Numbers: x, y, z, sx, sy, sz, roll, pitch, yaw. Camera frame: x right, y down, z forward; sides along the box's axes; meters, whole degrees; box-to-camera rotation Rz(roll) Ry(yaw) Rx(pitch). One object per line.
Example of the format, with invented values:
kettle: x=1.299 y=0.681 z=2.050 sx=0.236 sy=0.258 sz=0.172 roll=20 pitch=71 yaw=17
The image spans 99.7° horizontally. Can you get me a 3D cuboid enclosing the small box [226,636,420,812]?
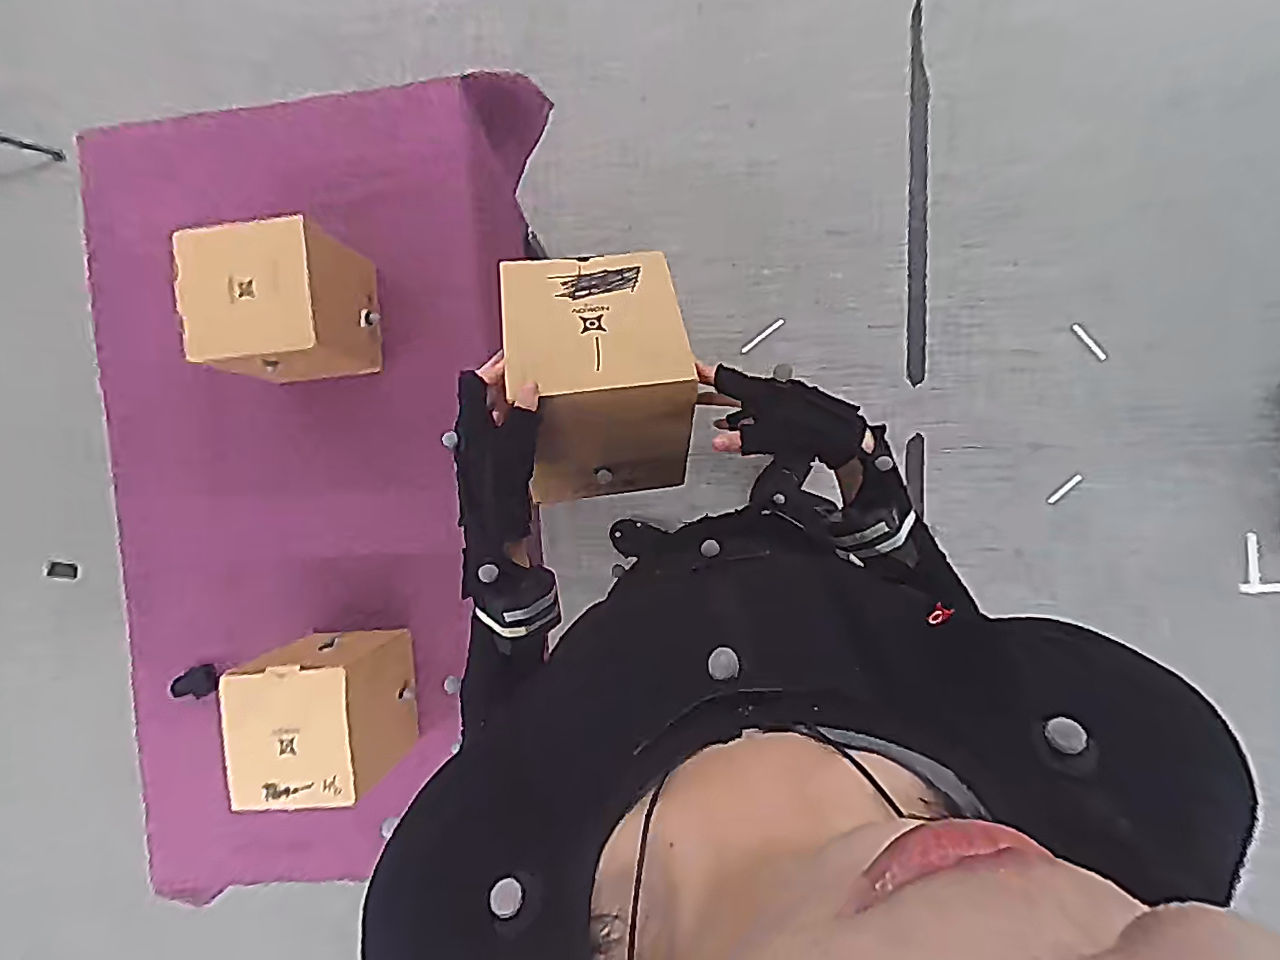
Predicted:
small box: x=-0.425 y=0.322 z=0.749 sx=0.168 sy=0.176 sz=0.179 roll=-5 pitch=89 yaw=4

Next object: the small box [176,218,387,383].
small box: x=-0.485 y=-0.236 z=0.754 sx=0.179 sy=0.176 sz=0.168 roll=-6 pitch=91 yaw=4

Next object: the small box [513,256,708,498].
small box: x=-0.036 y=-0.104 z=0.563 sx=0.168 sy=0.176 sz=0.179 roll=-7 pitch=56 yaw=-5
